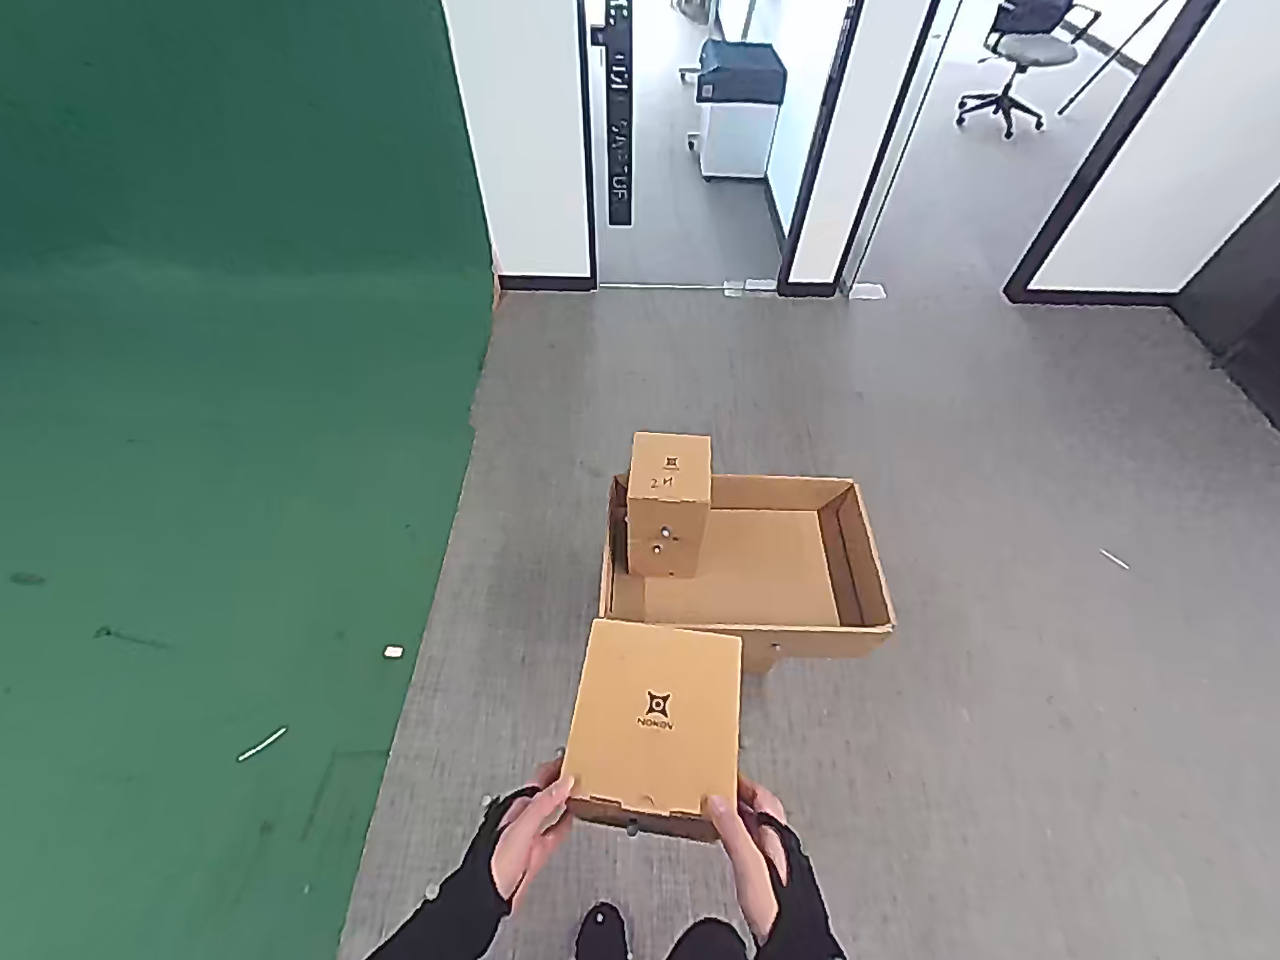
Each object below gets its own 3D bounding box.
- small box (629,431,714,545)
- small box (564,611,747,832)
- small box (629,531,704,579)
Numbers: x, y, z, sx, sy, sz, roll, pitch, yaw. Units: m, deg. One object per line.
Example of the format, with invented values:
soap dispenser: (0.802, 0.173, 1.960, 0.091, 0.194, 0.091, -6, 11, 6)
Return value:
small box: (0.066, 0.018, 1.168, 0.168, 0.176, 0.179, 5, 53, 2)
small box: (0.021, 0.272, 0.606, 0.168, 0.176, 0.179, 7, 53, 5)
small box: (0.061, 0.117, 1.299, 0.168, 0.176, 0.179, 3, 53, 1)
